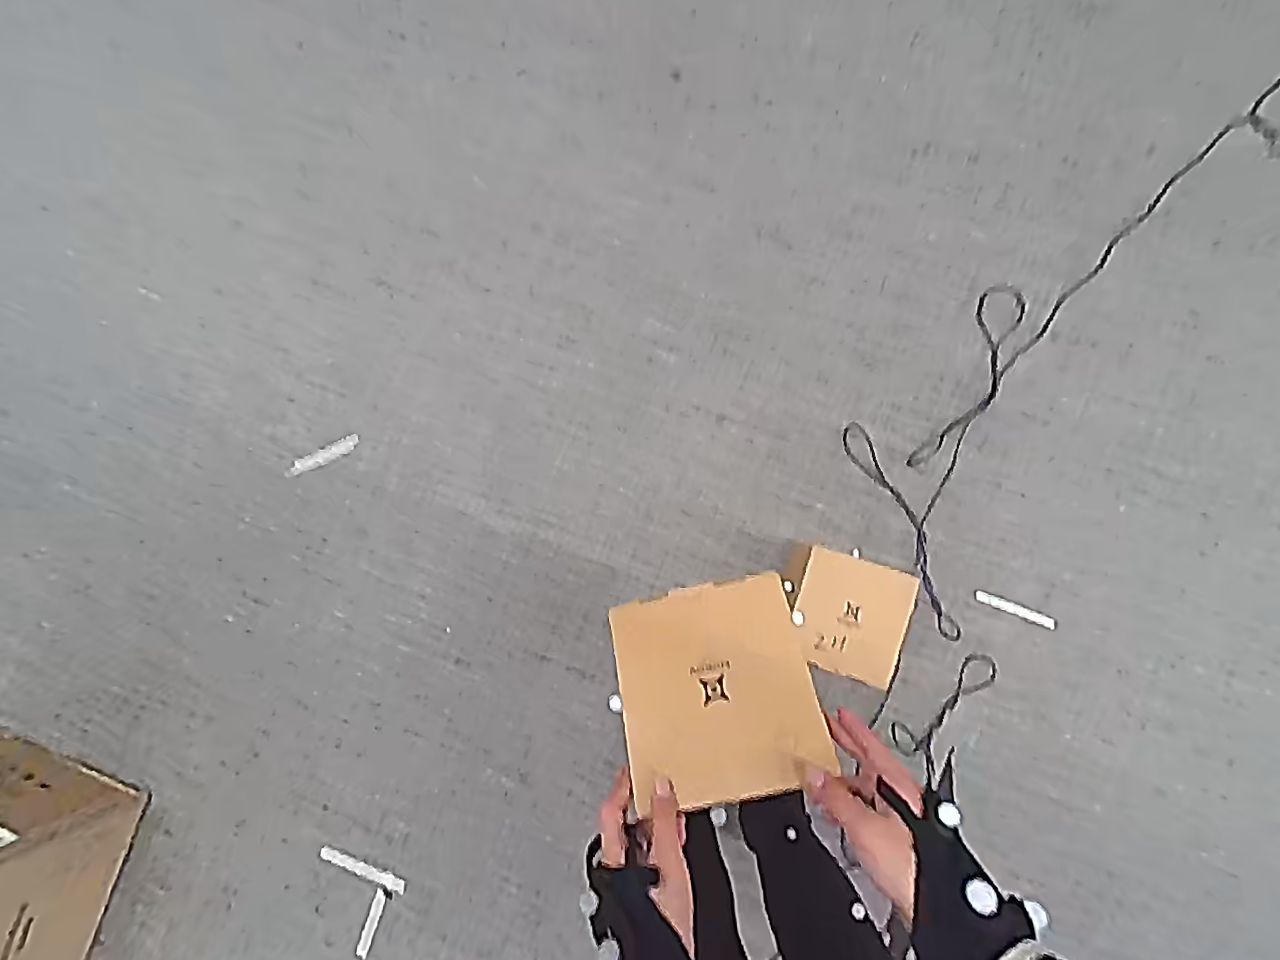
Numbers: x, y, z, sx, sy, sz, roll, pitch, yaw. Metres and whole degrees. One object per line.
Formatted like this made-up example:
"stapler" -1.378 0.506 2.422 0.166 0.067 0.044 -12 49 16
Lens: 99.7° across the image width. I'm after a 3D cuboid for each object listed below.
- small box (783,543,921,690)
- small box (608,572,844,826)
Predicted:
"small box" 0.322 0.209 0.886 0.168 0.176 0.179 18 87 7
"small box" 0.077 0.214 0.517 0.168 0.176 0.179 -14 56 3
